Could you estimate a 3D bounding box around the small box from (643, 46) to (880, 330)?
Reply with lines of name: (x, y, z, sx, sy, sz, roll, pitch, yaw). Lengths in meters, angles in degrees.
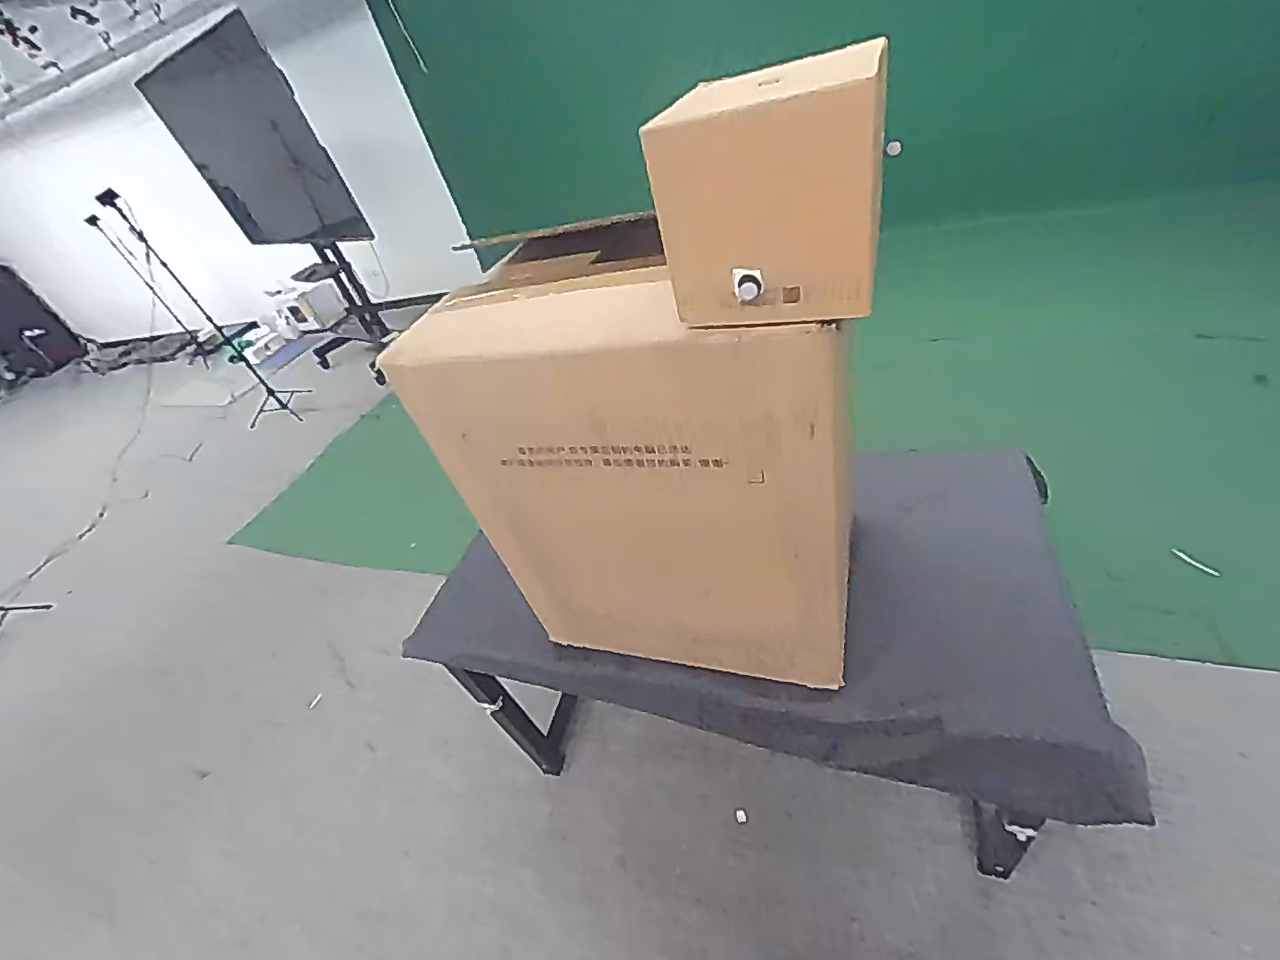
small box: (0.121, -0.253, 0.484, 0.168, 0.176, 0.179, 2, 44, 23)
